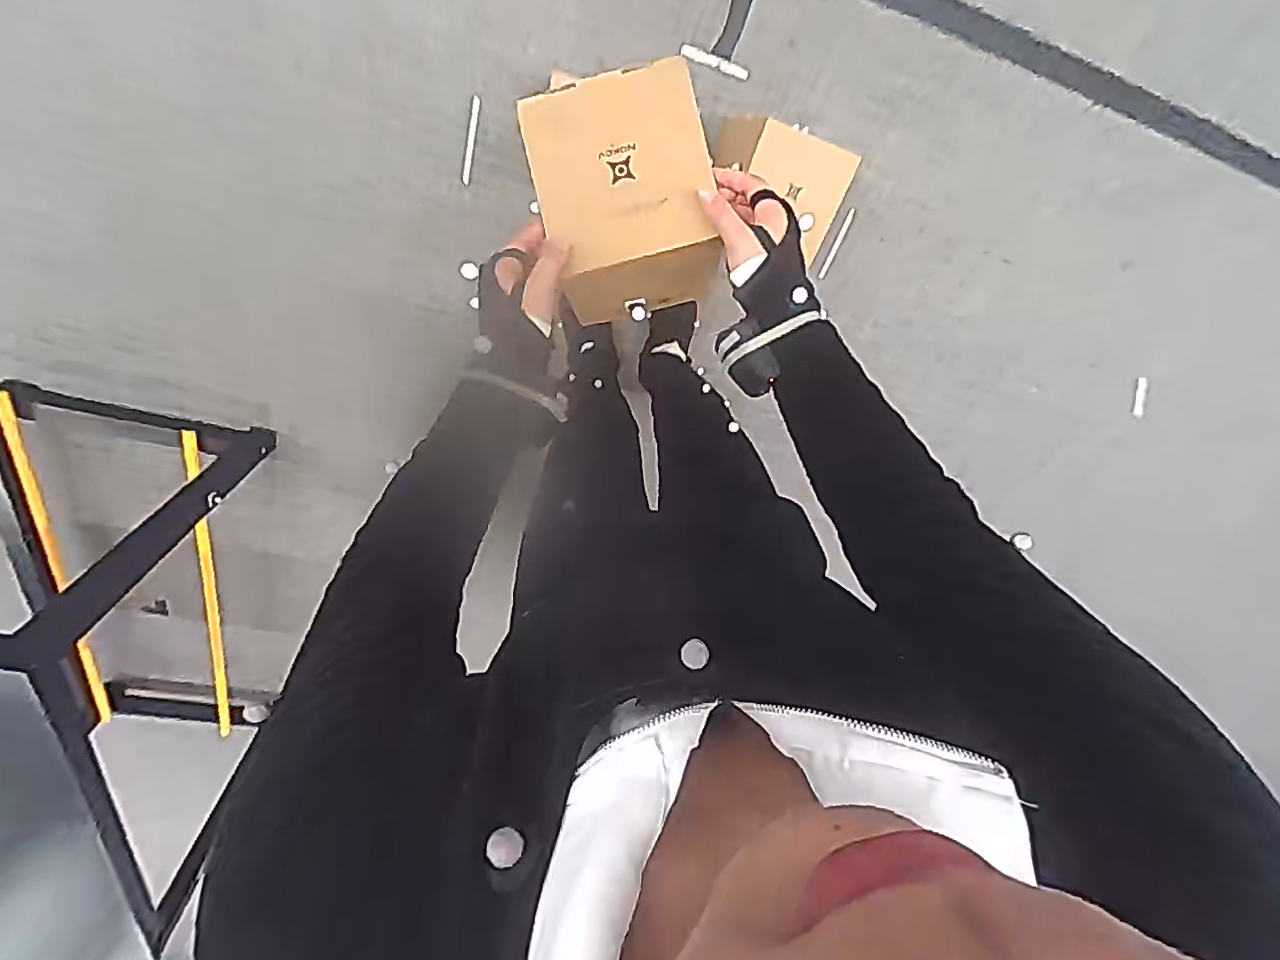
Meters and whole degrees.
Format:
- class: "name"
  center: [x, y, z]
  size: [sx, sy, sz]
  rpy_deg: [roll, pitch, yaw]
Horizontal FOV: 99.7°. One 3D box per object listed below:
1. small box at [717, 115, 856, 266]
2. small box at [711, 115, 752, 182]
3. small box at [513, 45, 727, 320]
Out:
- class: "small box"
  center: [0.229, -0.498, 0.930]
  size: [0.168, 0.176, 0.179]
  rpy_deg: [14, 121, -13]
- class: "small box"
  center: [0.223, -0.593, 1.067]
  size: [0.168, 0.176, 0.179]
  rpy_deg: [13, 122, -12]
- class: "small box"
  center: [-0.016, -0.291, 0.570]
  size: [0.168, 0.176, 0.179]
  rpy_deg: [-14, 92, 4]
